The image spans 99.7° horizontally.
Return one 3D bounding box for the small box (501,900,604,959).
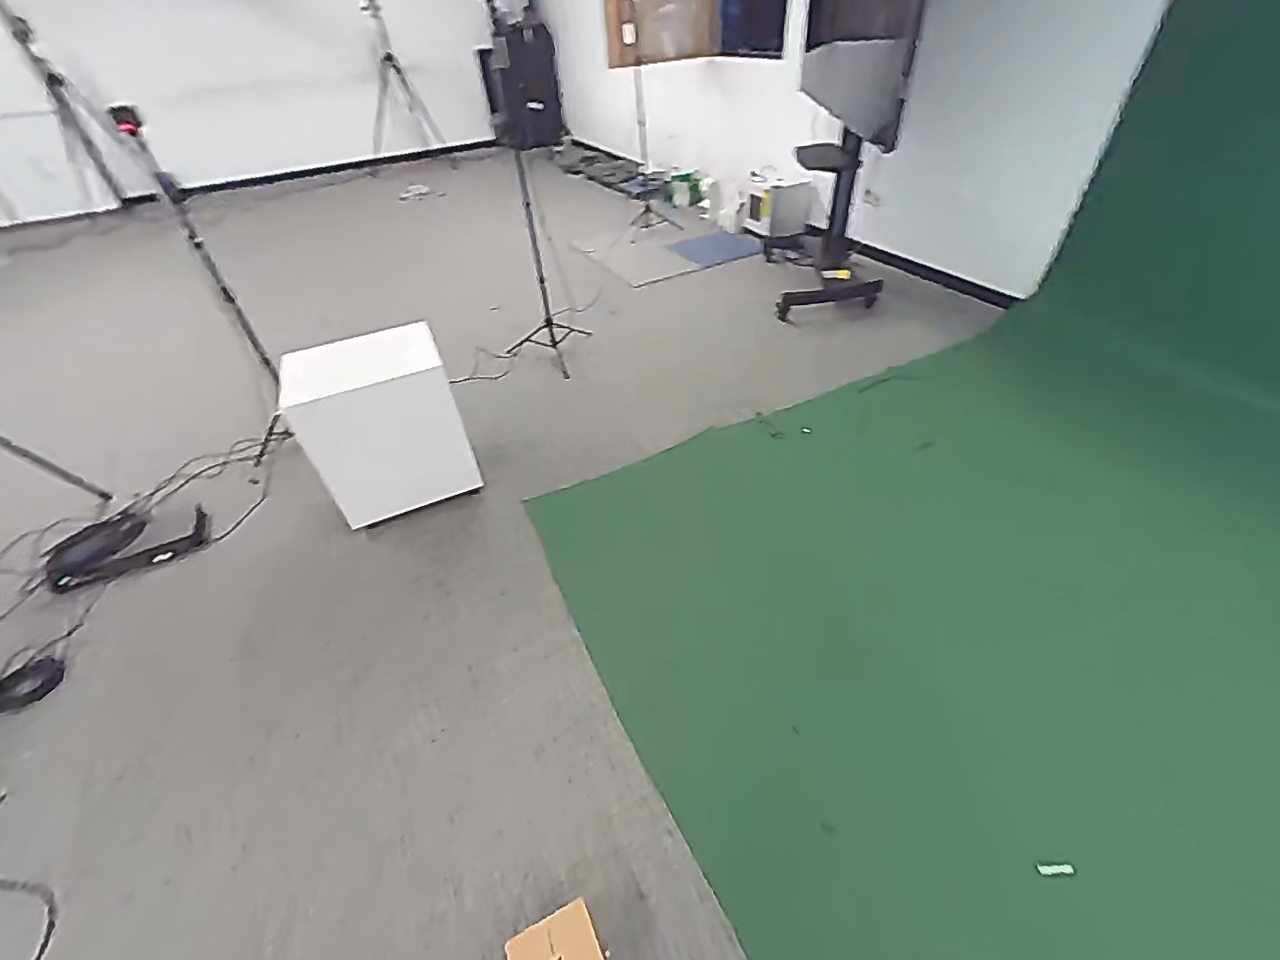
[{"bbox_3d":[-0.151,0.970,1.049,0.168,0.176,0.179,-20,44,-18],"label":"small box"}]
